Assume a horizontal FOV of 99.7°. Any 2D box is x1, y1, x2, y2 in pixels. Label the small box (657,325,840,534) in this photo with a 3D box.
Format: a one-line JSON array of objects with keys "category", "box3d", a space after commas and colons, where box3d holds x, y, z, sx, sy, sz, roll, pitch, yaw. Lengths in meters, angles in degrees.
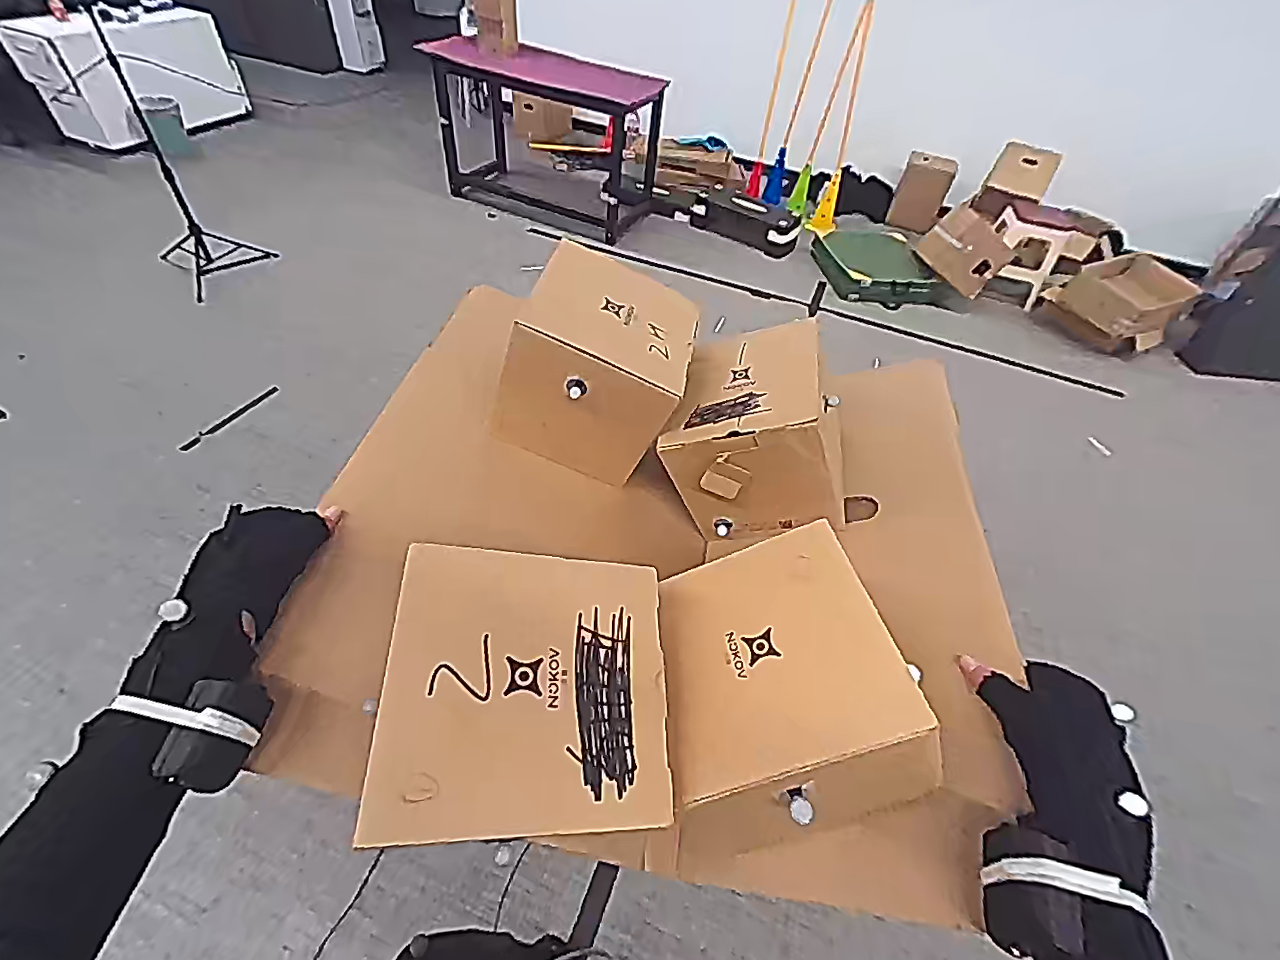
[{"category": "small box", "box3d": [0.138, -0.048, 0.641, 0.168, 0.176, 0.179, -7, 45, 25]}]
